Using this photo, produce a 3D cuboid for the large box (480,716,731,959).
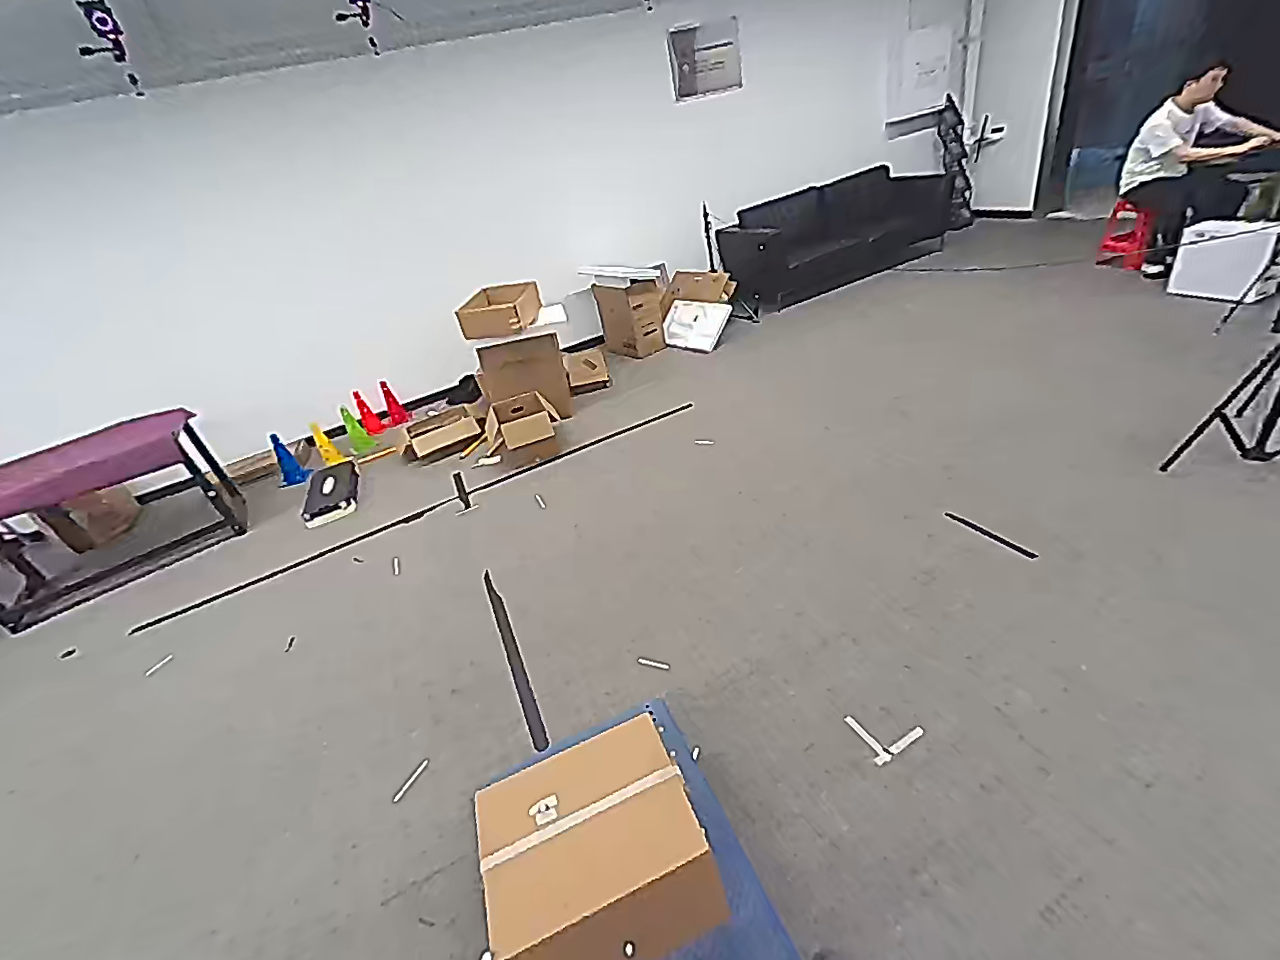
[{"bbox_3d":[-0.071,0.792,1.133,0.408,0.320,0.320,-22,31,-11],"label":"large box"}]
